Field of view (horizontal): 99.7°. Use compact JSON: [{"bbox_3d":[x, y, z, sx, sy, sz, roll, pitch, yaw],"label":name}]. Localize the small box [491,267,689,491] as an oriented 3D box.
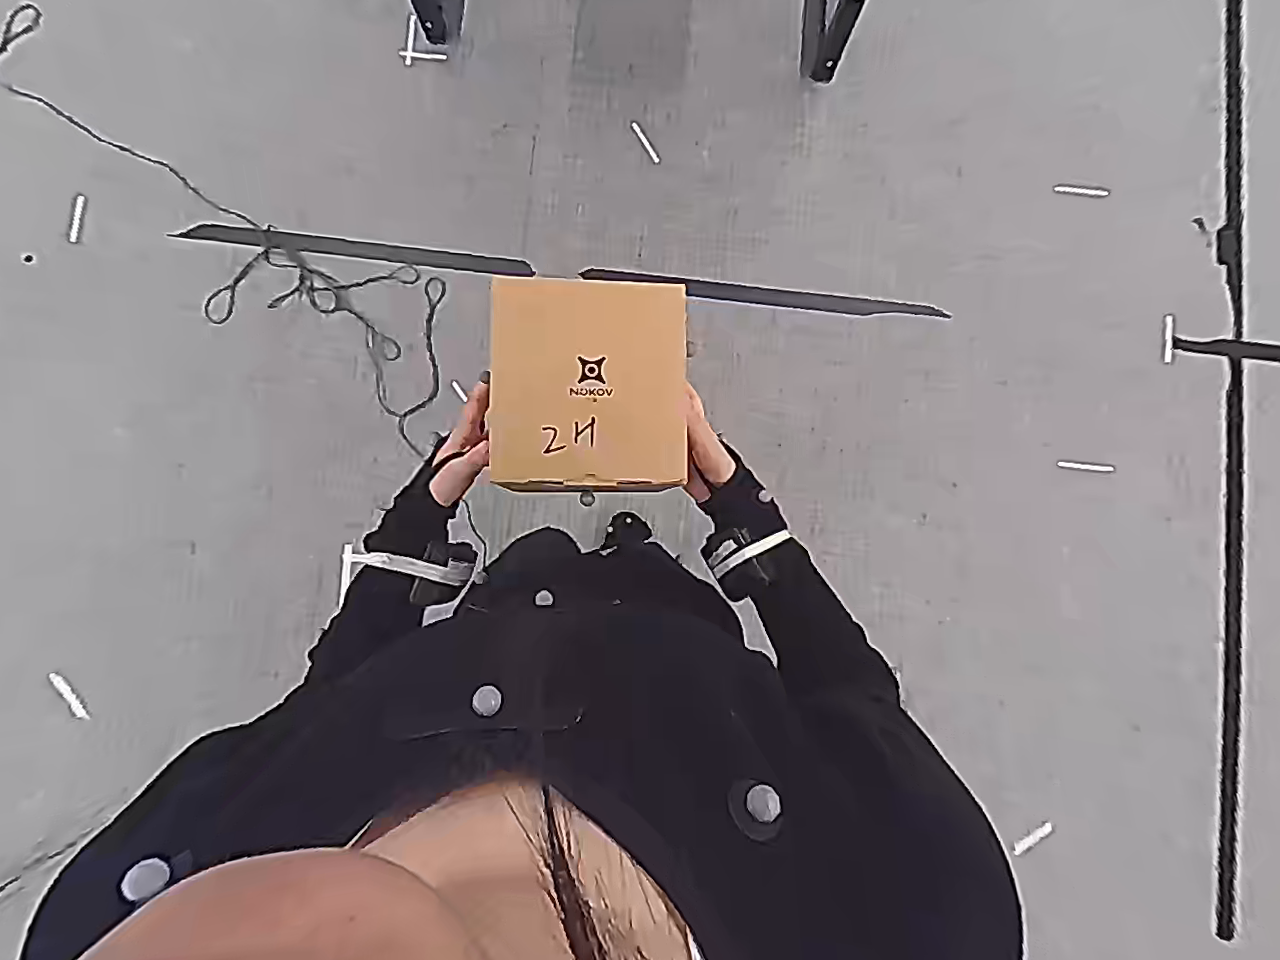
[{"bbox_3d":[-0.048,-0.083,0.529,0.168,0.176,0.179,0,86,-6],"label":"small box"}]
